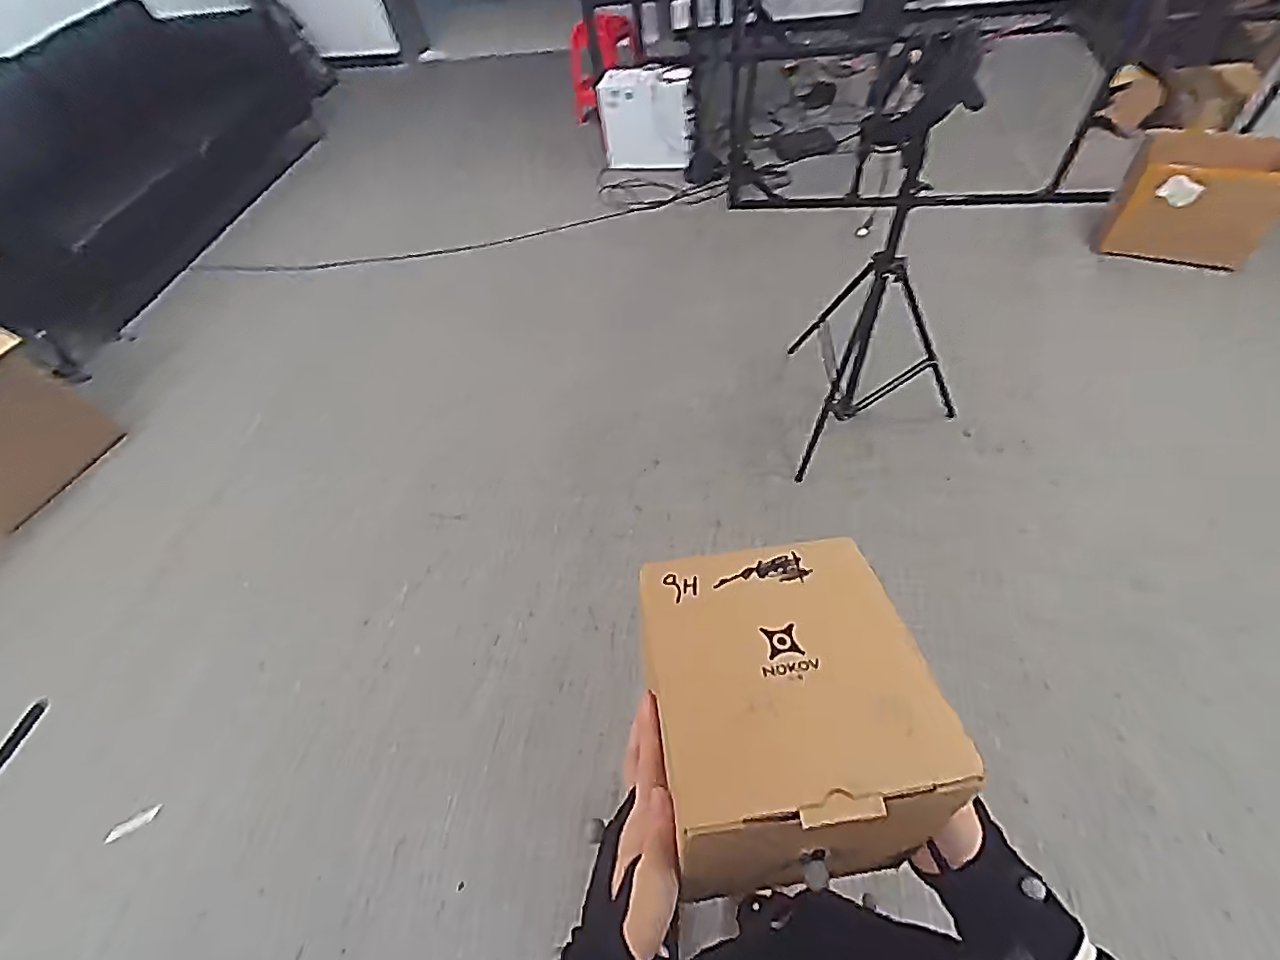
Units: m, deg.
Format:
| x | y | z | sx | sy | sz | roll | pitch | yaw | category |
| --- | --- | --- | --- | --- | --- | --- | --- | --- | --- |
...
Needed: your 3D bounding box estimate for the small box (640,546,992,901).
| x | y | z | sx | sy | sz | roll | pitch | yaw | category |
| --- | --- | --- | --- | --- | --- | --- | --- | --- | --- |
| 0.095 | 0.175 | 0.387 | 0.168 | 0.176 | 0.179 | -7 | 43 | -5 | small box |
